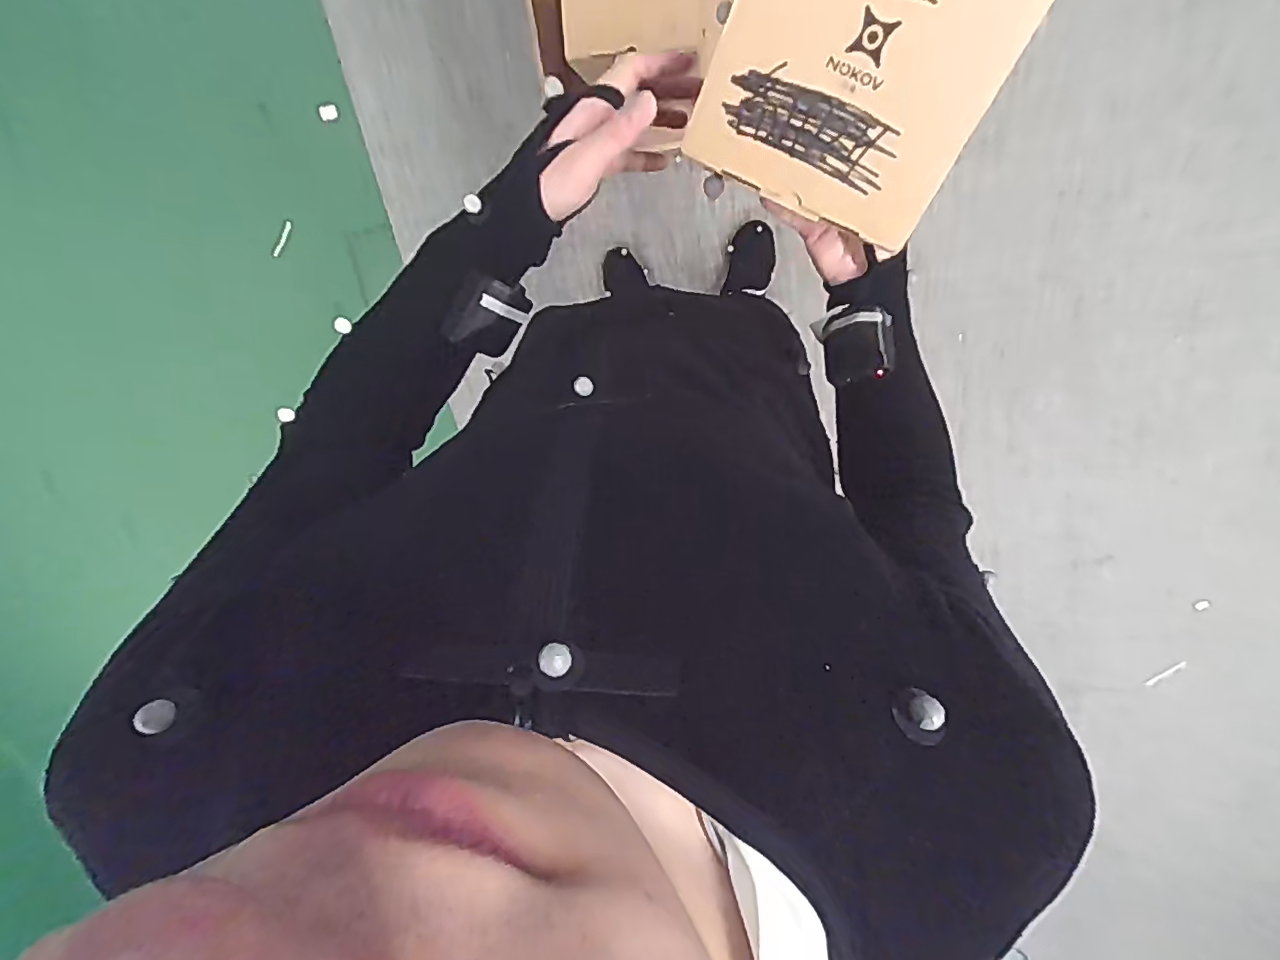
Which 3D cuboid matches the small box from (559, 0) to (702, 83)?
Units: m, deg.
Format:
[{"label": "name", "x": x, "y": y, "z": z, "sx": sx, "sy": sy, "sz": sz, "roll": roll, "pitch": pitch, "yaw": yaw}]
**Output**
[{"label": "small box", "x": -0.005, "y": -0.624, "z": 0.684, "sx": 0.168, "sy": 0.176, "sz": 0.179, "roll": 2, "pitch": 115, "yaw": 6}]
